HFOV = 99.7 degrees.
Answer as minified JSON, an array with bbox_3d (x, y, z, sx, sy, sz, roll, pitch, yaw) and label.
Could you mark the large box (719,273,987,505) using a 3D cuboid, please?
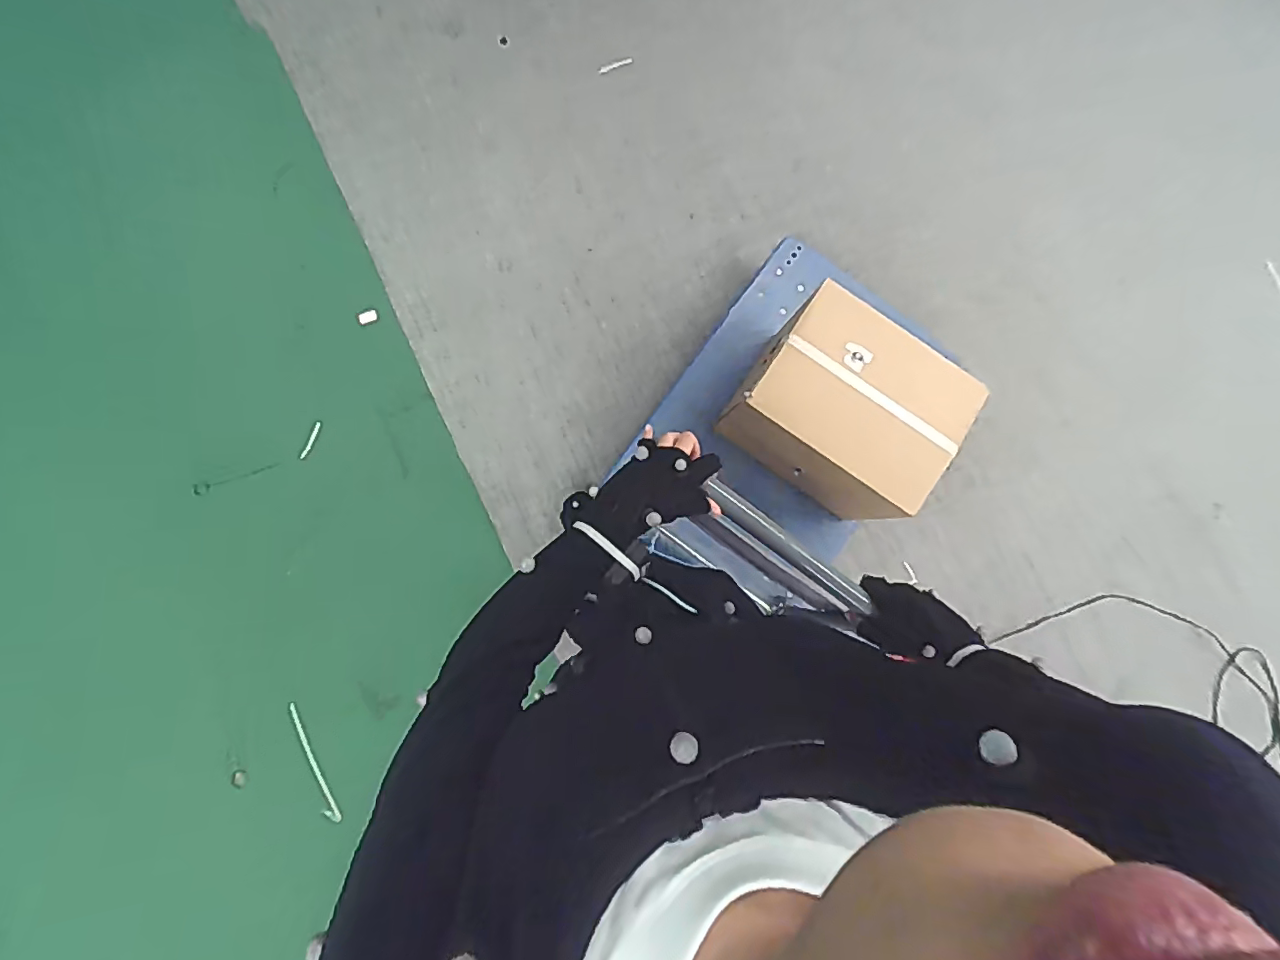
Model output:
[{"bbox_3d":[0.448,-0.176,1.223,0.408,0.320,0.320,34,84,0],"label":"large box"}]
